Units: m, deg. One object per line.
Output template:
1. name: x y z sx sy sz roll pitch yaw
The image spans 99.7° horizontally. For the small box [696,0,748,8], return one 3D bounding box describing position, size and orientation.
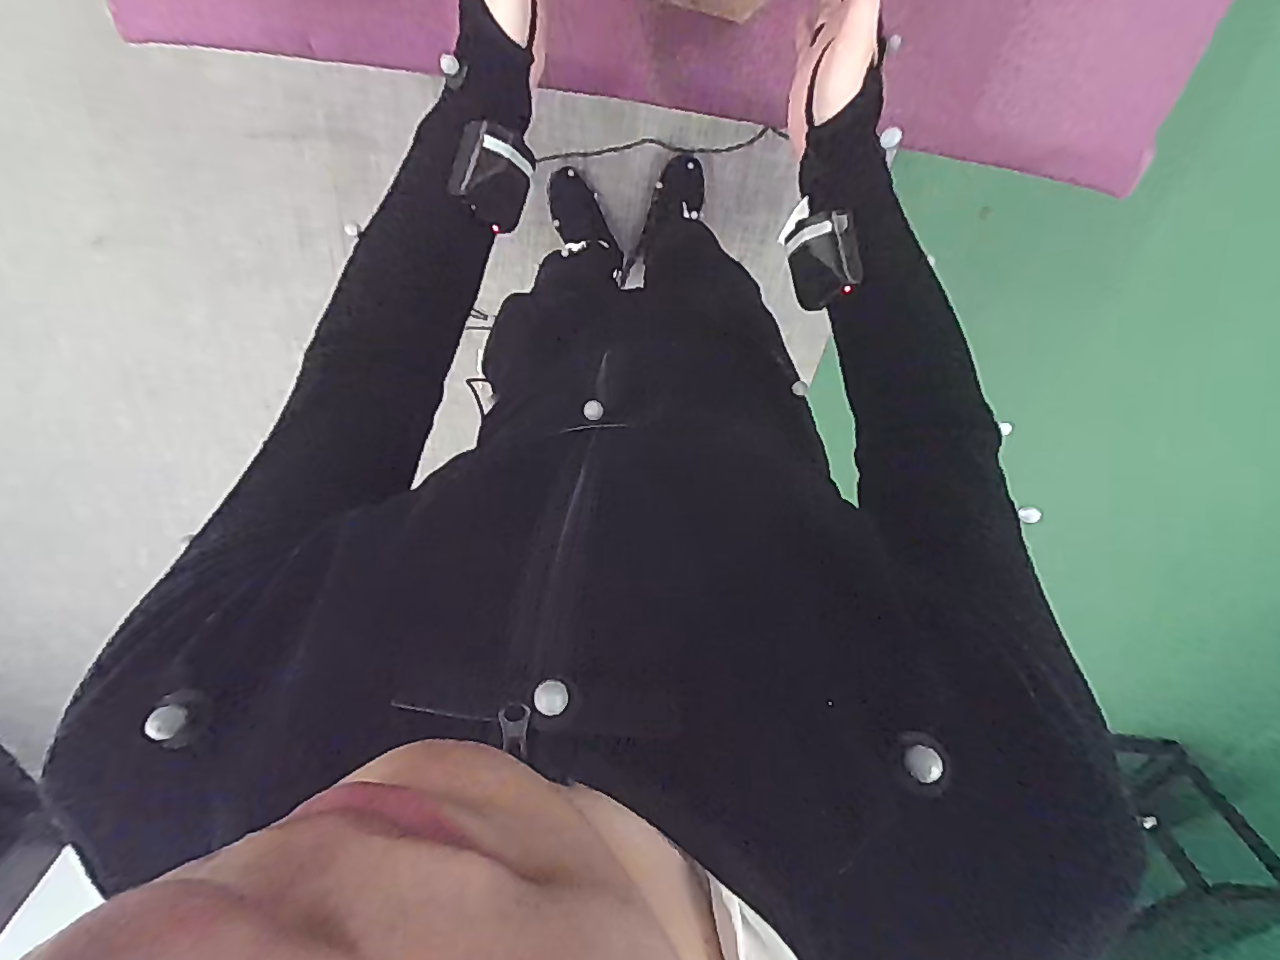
1. small box: 0.051 -0.550 0.466 0.168 0.176 0.179 8 124 -8
